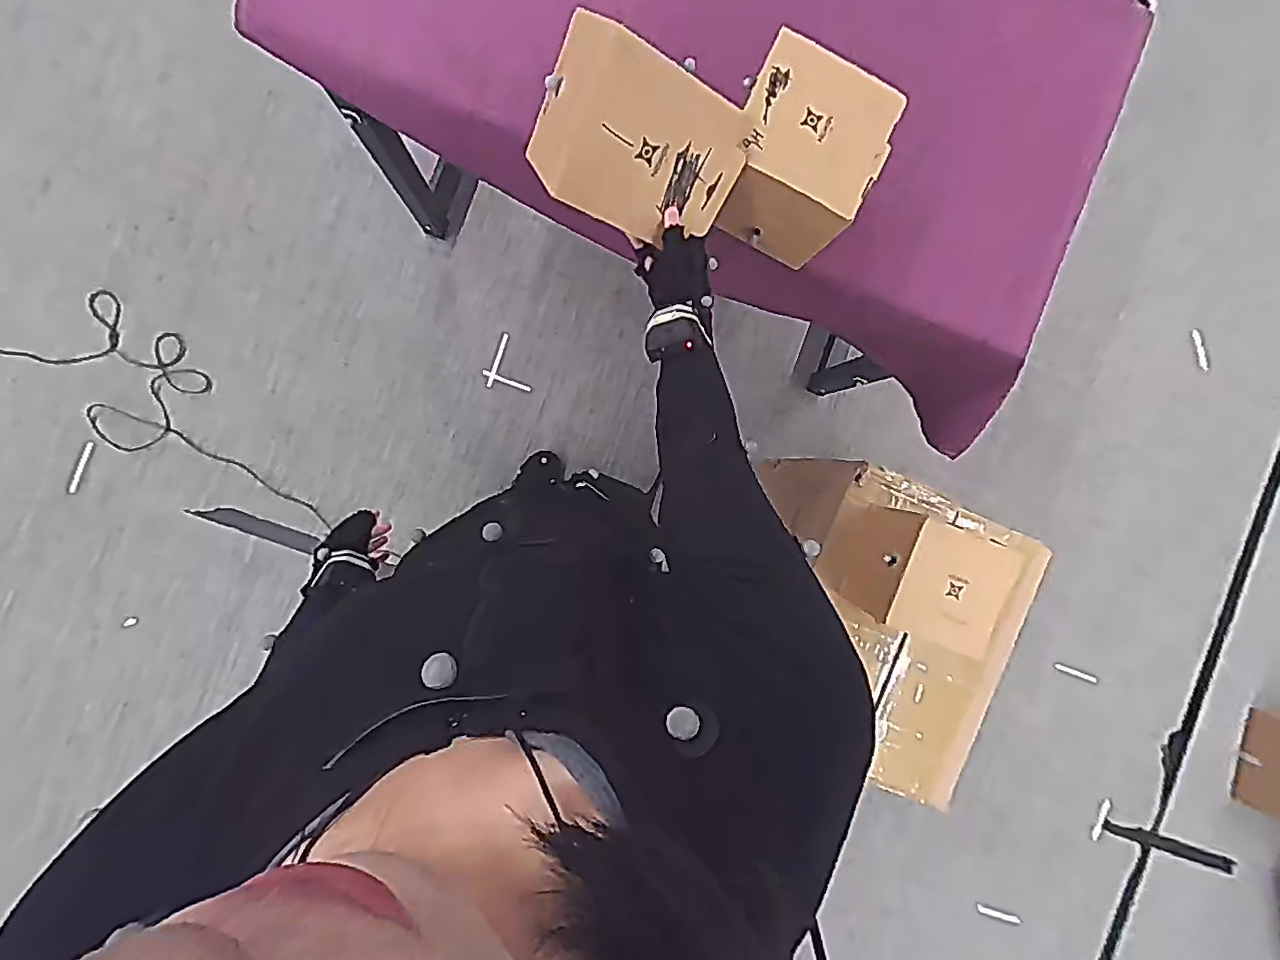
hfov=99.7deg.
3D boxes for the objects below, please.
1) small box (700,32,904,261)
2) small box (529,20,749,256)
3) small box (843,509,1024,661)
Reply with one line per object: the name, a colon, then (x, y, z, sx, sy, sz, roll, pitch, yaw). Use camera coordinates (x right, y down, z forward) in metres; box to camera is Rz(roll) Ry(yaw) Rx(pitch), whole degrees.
small box: (0.199, -0.419, 0.719, 0.179, 0.176, 0.168, 25, 88, -7)
small box: (-0.012, -0.404, 0.640, 0.179, 0.176, 0.168, 11, 126, -33)
small box: (0.456, 0.156, 0.869, 0.168, 0.176, 0.179, 21, 91, -4)
